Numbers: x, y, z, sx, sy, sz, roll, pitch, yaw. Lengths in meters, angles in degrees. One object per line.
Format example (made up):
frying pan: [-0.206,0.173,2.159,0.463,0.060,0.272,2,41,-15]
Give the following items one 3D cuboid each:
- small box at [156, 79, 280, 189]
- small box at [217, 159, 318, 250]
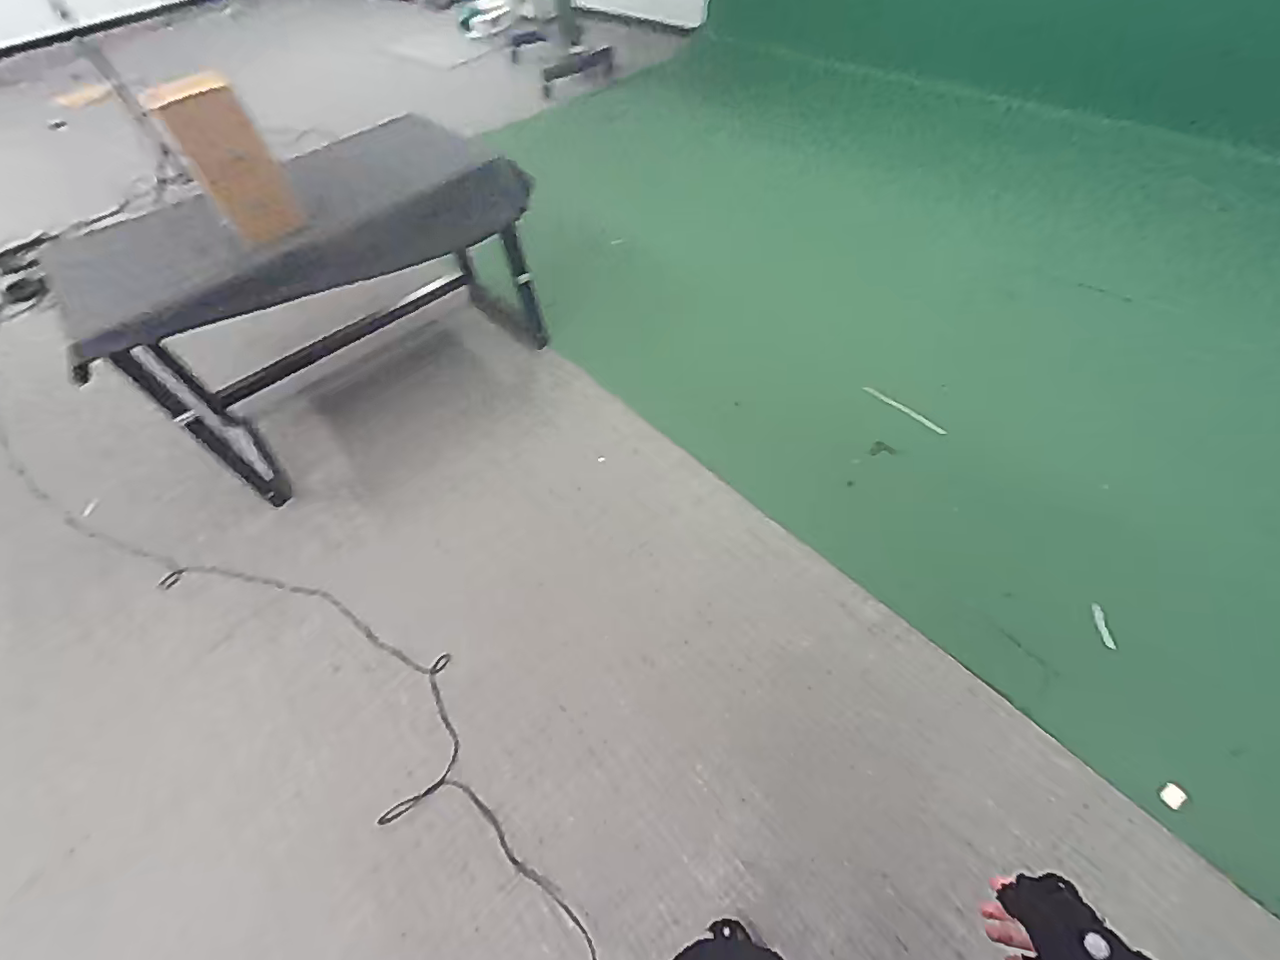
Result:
small box: [-1.037,-0.861,1.346,0.179,0.176,0.168,-37,57,-20]
small box: [-1.016,-0.760,1.473,0.179,0.176,0.168,-39,58,-22]
